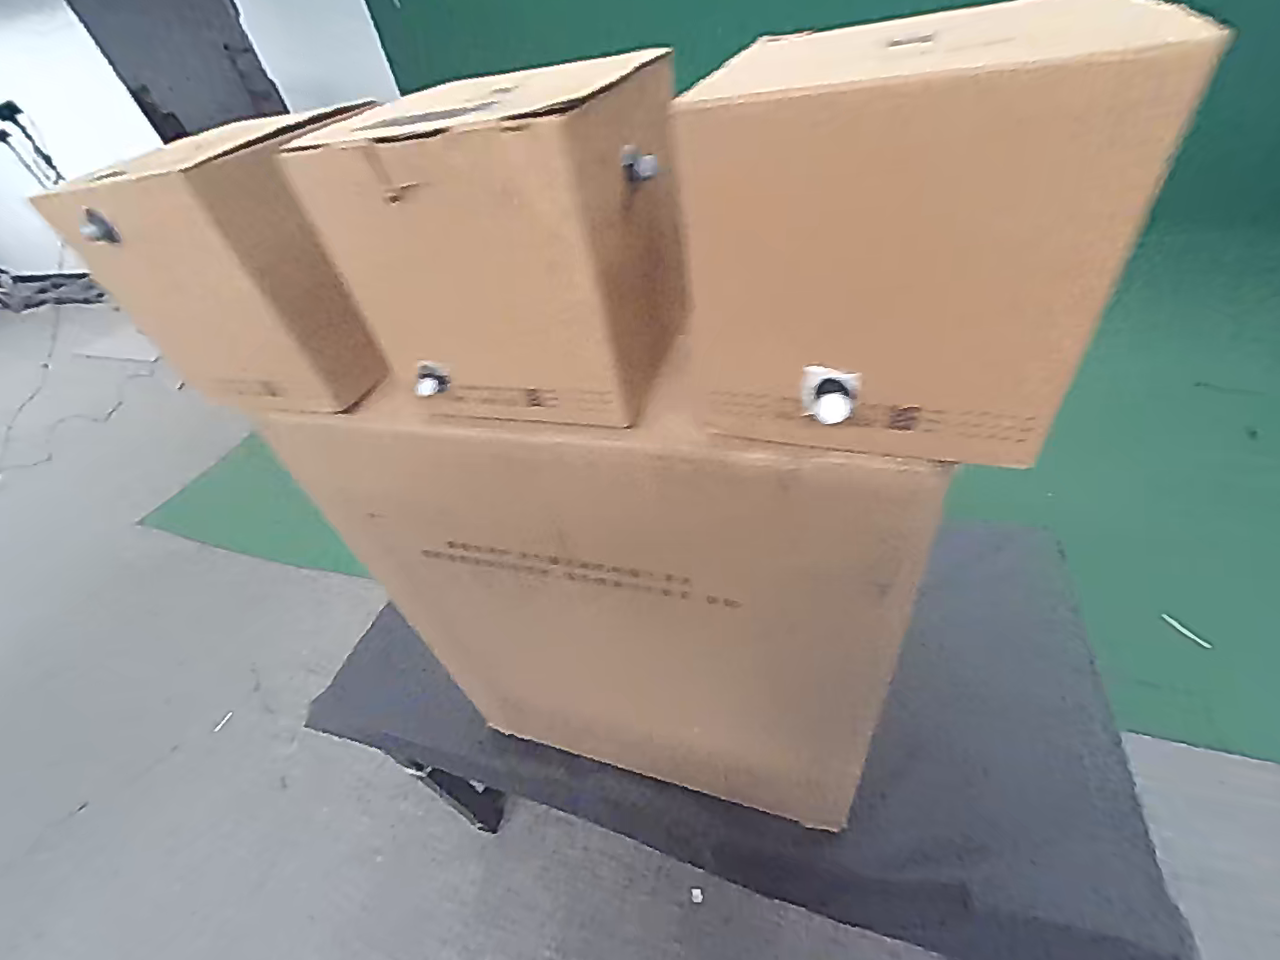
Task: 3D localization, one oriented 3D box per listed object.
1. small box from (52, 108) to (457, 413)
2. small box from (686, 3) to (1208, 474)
[{"bbox_3d":[-0.277,-0.175,0.439,0.168,0.176,0.179,5,44,23],"label":"small box"},{"bbox_3d":[0.132,-0.128,0.295,0.168,0.176,0.179,7,46,20],"label":"small box"}]
